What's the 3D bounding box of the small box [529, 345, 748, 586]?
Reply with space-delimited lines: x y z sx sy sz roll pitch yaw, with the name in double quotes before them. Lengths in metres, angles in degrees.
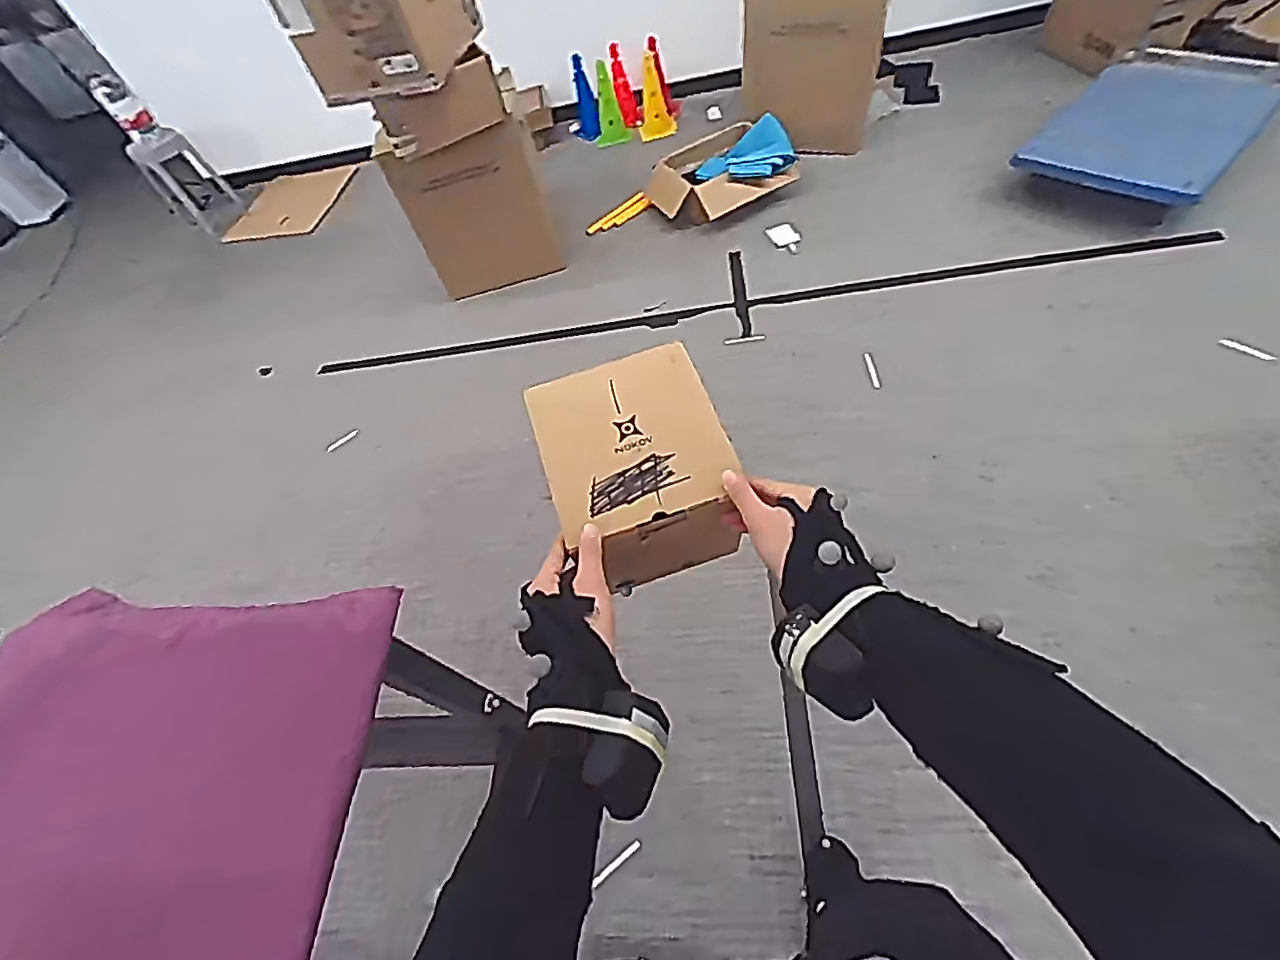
"small box" 0.001 -0.002 0.565 0.168 0.176 0.179 -18 63 -4
